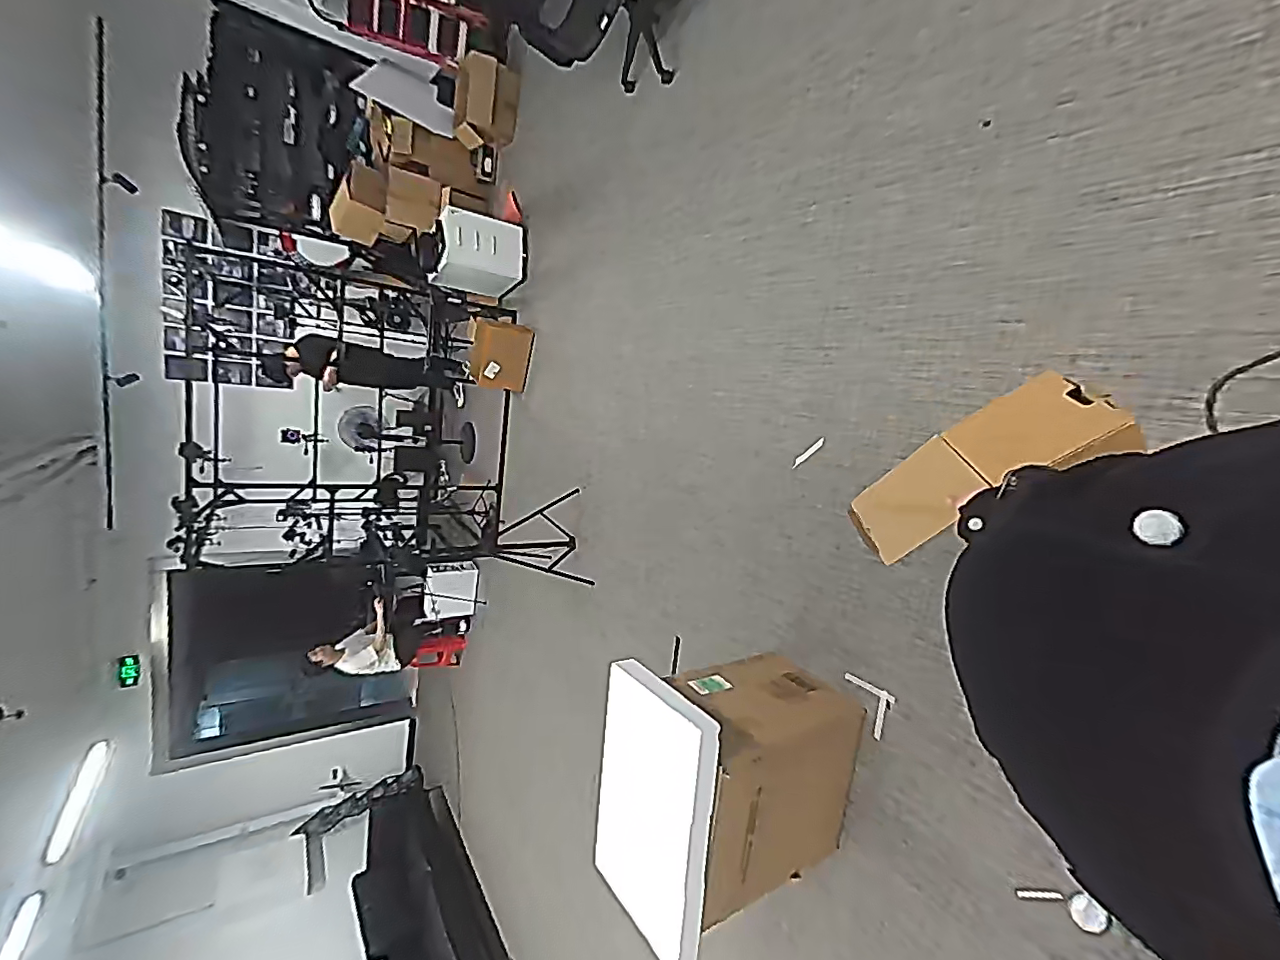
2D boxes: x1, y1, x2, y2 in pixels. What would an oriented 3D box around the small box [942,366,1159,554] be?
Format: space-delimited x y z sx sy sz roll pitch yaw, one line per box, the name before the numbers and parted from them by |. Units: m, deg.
small box | 0.588 -0.025 0.783 0.179 0.176 0.168 -34 28 20
